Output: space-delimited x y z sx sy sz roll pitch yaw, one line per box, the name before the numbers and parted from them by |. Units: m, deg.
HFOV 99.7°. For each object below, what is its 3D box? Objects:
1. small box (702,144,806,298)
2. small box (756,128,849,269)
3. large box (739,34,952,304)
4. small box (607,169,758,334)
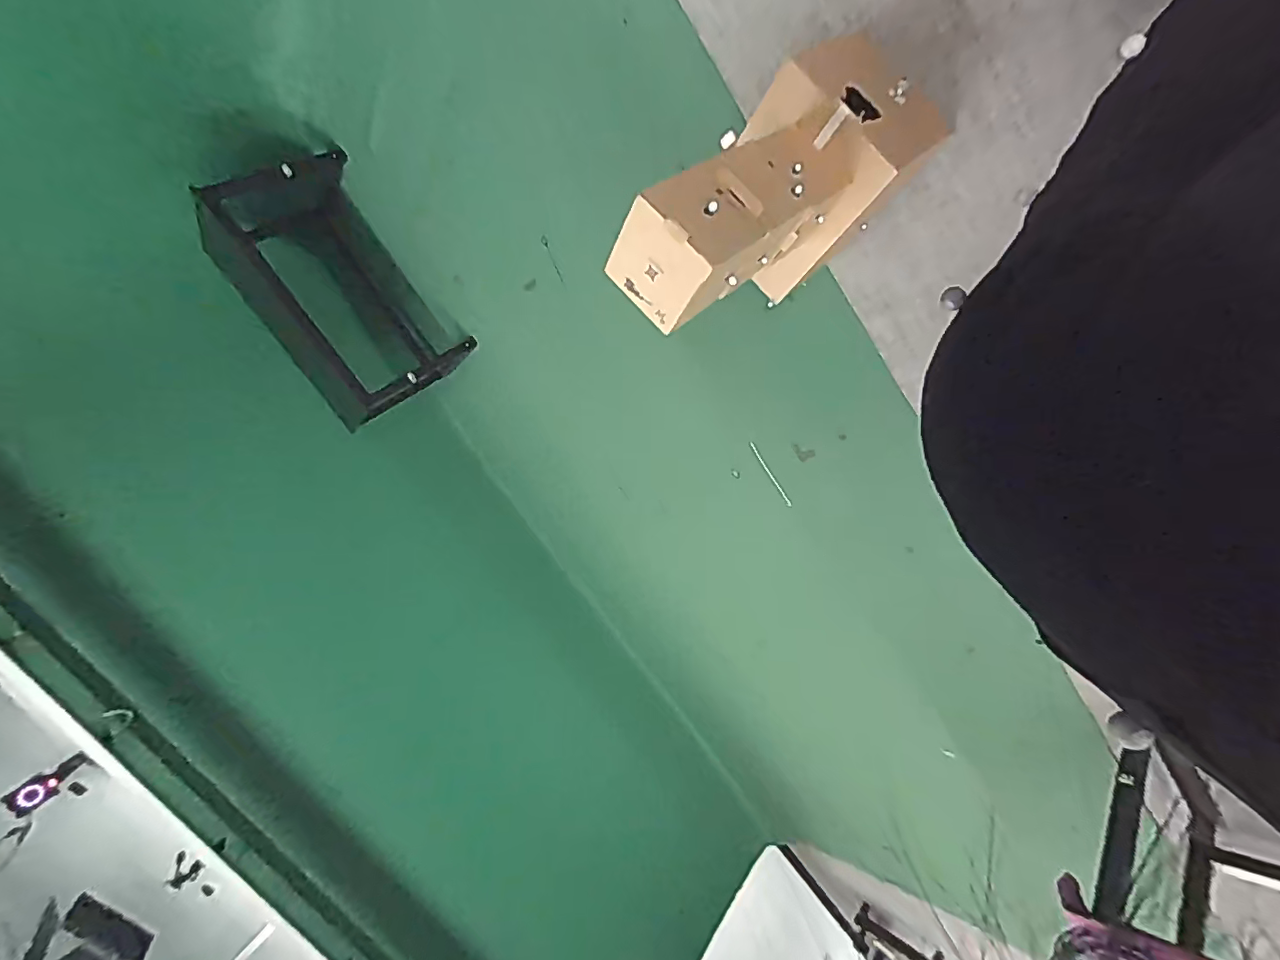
small box | 0.184 -0.488 1.017 0.168 0.176 0.179 46 149 2
small box | 0.288 -0.578 1.105 0.179 0.176 0.168 47 148 1
large box | 0.418 -0.712 1.269 0.320 0.320 0.408 48 150 2
small box | 0.078 -0.395 0.933 0.168 0.176 0.179 47 147 1
